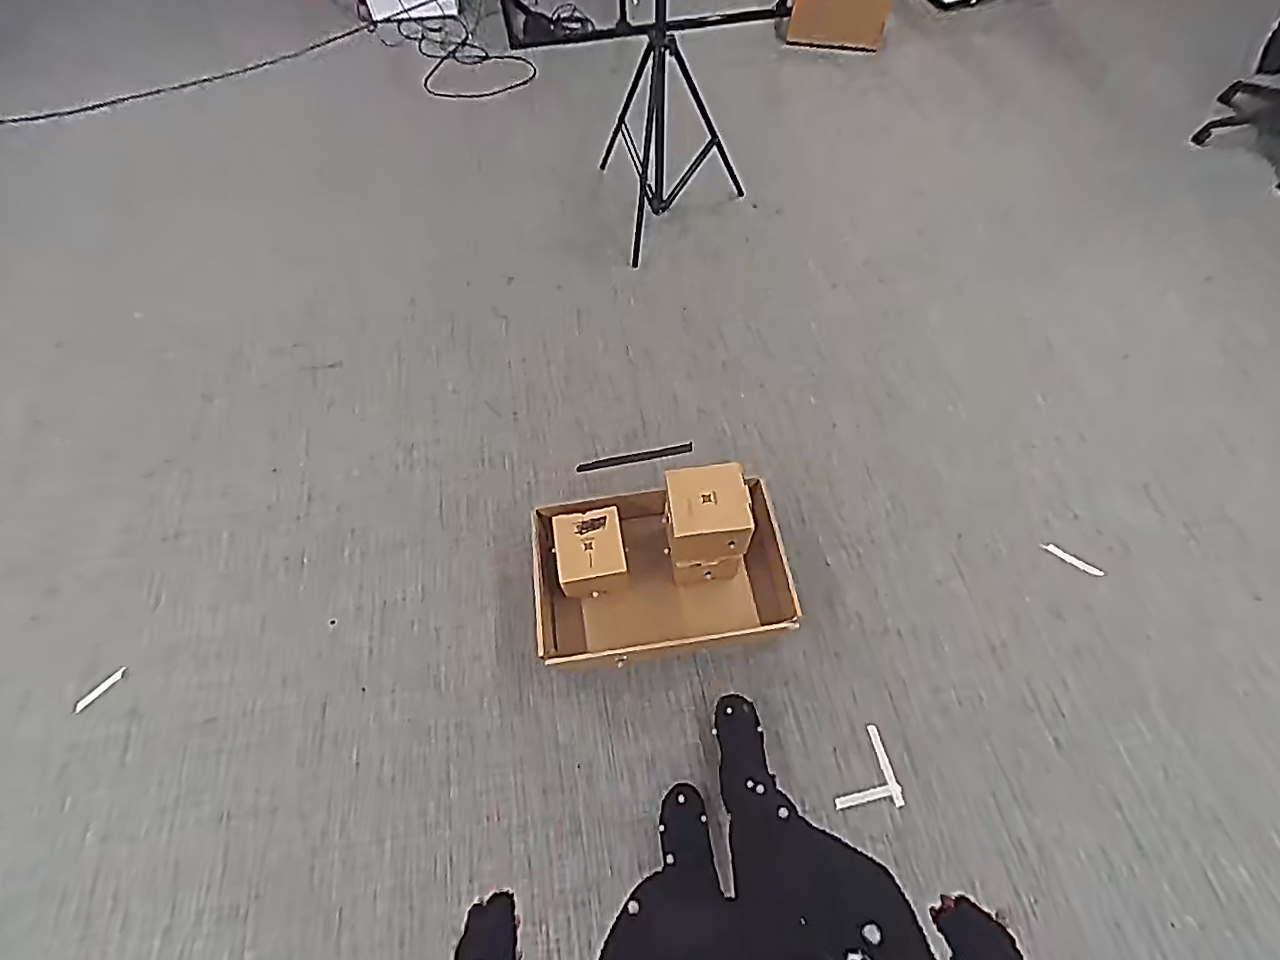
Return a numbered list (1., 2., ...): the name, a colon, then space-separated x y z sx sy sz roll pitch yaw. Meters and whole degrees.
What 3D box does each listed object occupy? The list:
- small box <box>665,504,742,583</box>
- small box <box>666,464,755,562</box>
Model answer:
1. small box: 0.158 0.160 1.402 0.168 0.176 0.179 -9 64 -2
2. small box: 0.156 0.081 1.258 0.179 0.176 0.168 -7 62 0
